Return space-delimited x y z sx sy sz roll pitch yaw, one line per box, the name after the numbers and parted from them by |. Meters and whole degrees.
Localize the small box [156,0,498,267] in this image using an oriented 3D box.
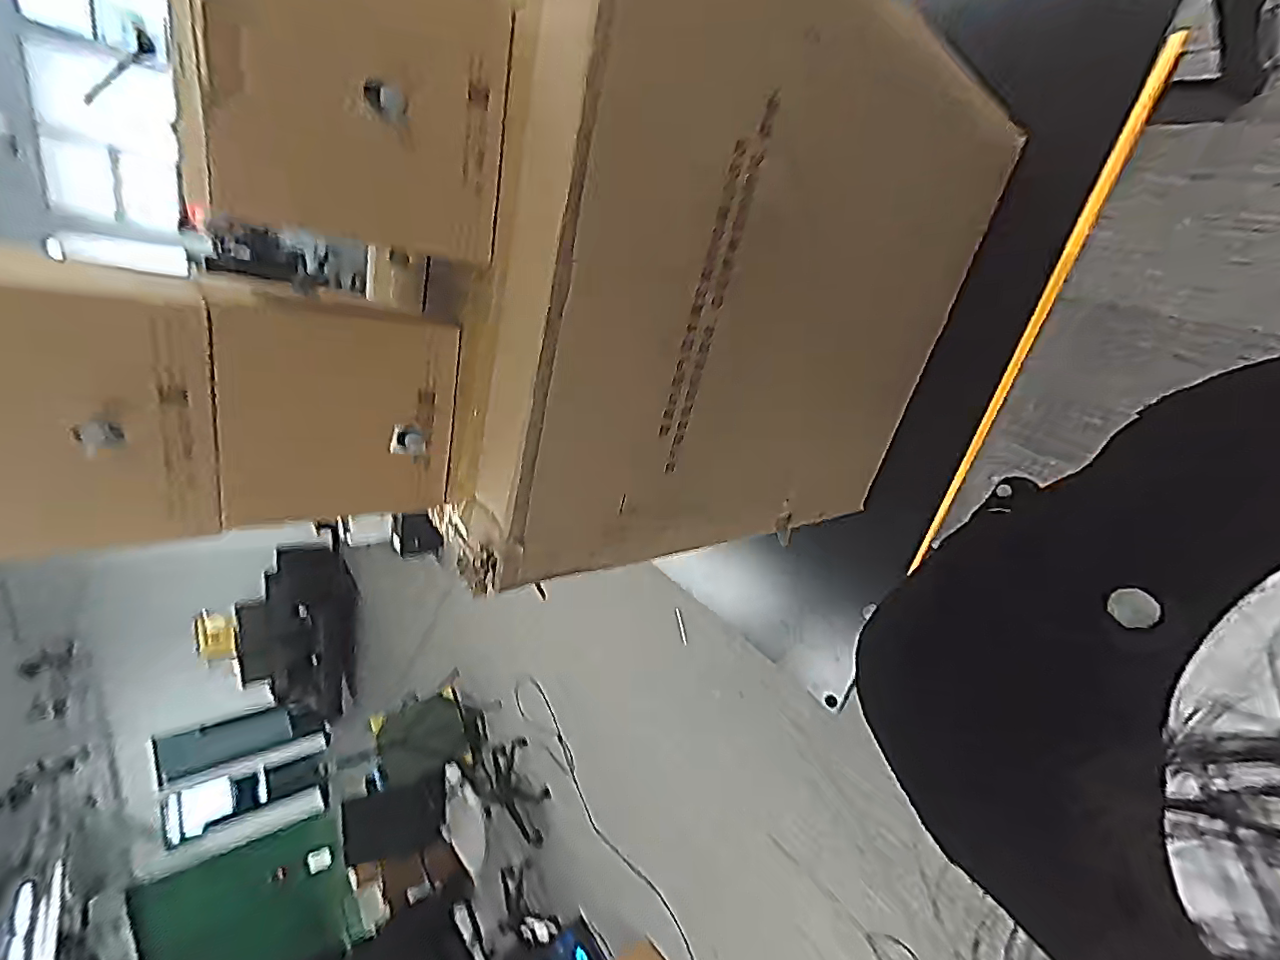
-0.217 -0.255 0.380 0.179 0.176 0.168 30 117 41 | small box

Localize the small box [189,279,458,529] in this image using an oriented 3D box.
-0.281 -0.072 0.479 0.179 0.176 0.168 27 114 43 | small box

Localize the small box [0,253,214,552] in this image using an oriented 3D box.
-0.404 -0.057 0.370 0.179 0.176 0.168 31 117 43 | small box
